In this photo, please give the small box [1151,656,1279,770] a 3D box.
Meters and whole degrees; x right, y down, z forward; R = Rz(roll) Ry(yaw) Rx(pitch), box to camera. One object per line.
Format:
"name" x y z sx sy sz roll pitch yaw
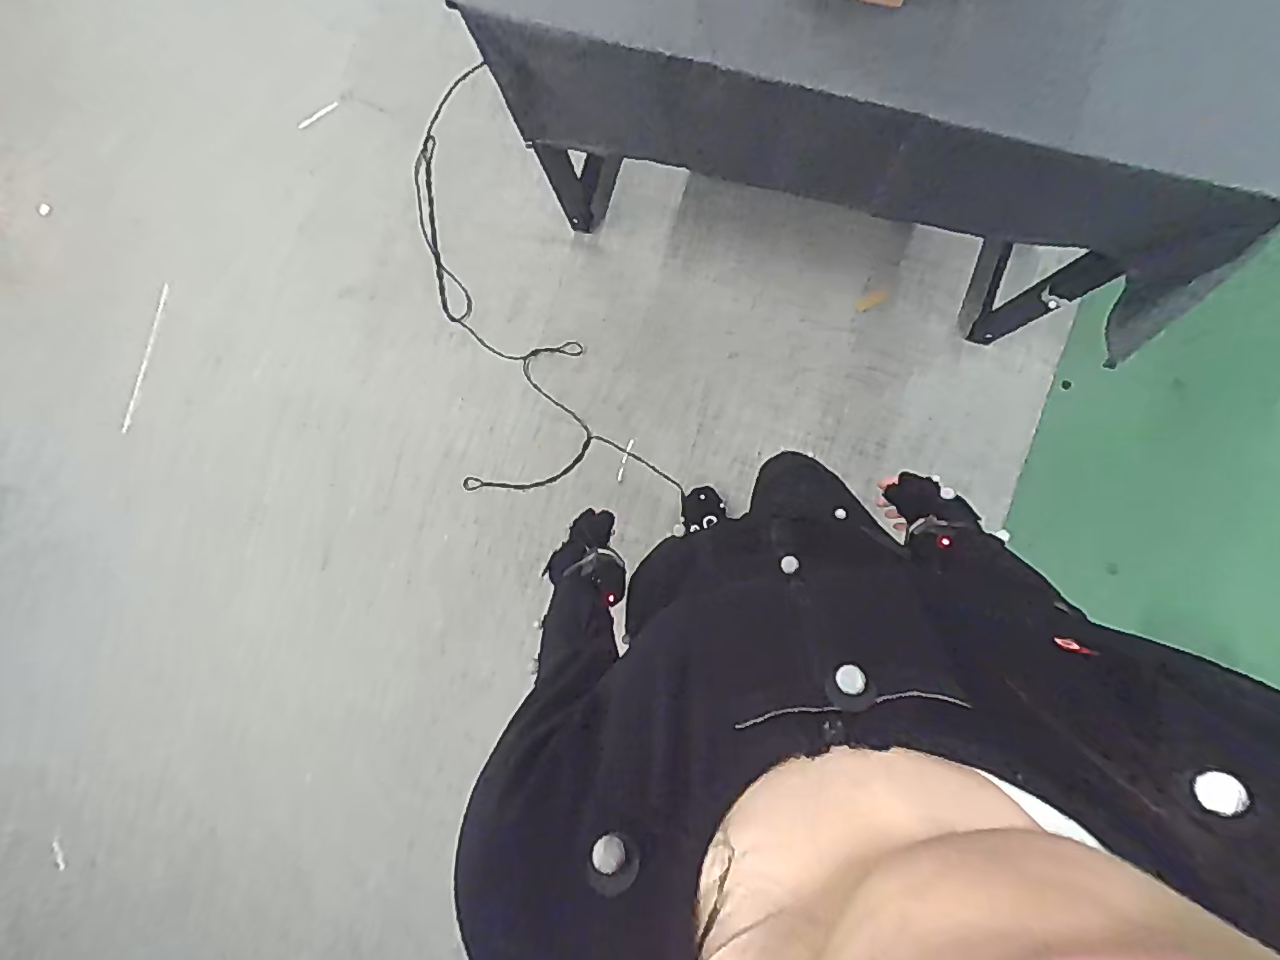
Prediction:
"small box" 1.367 0.531 1.259 0.179 0.176 0.168 23 91 6
